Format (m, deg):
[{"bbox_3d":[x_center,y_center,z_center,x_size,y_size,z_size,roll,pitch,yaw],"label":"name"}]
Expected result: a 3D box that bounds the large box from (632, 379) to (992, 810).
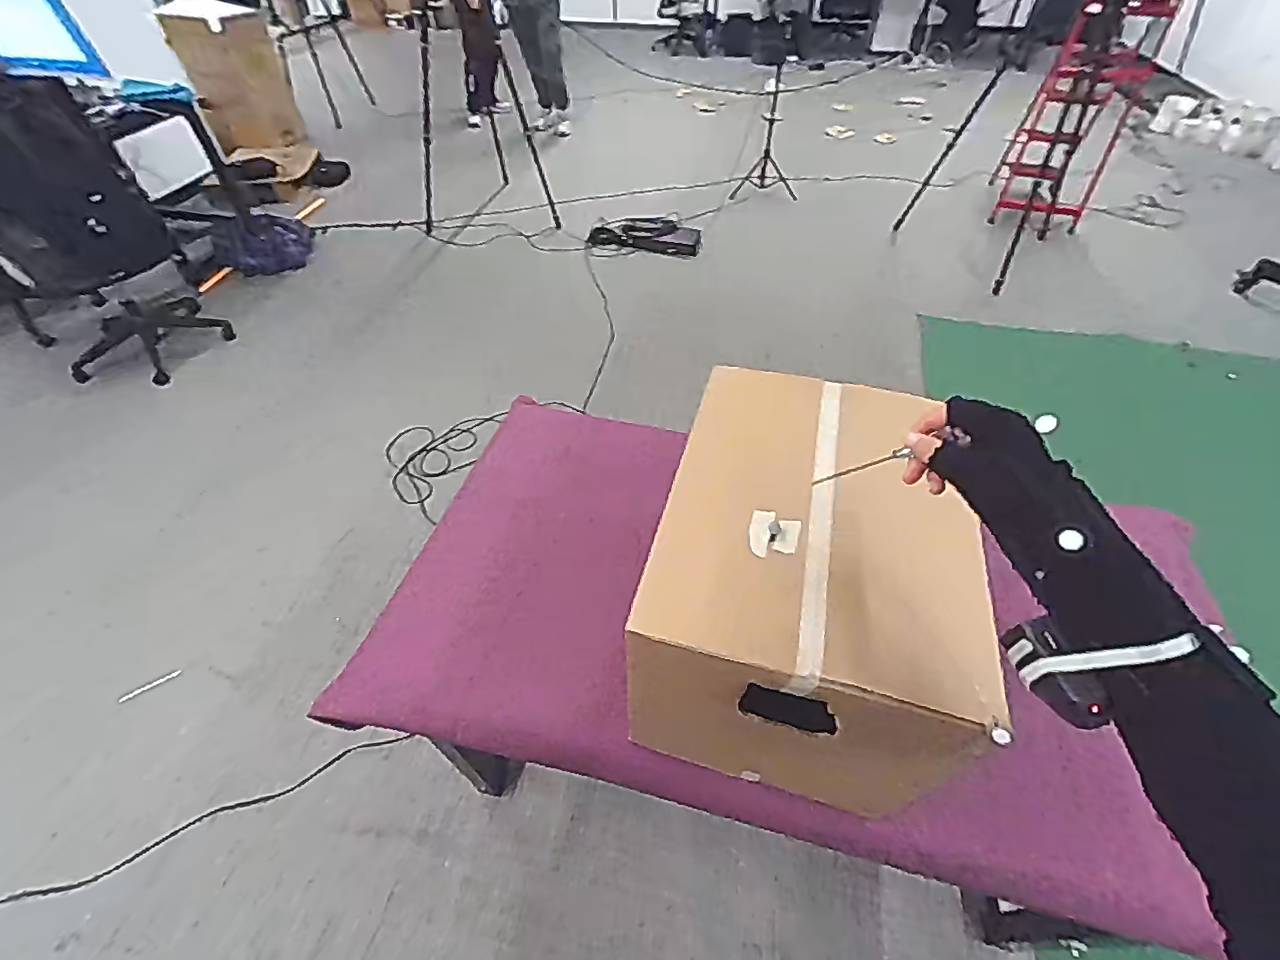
[{"bbox_3d":[0.189,0.133,0.699,0.320,0.320,0.408,12,49,11],"label":"large box"}]
